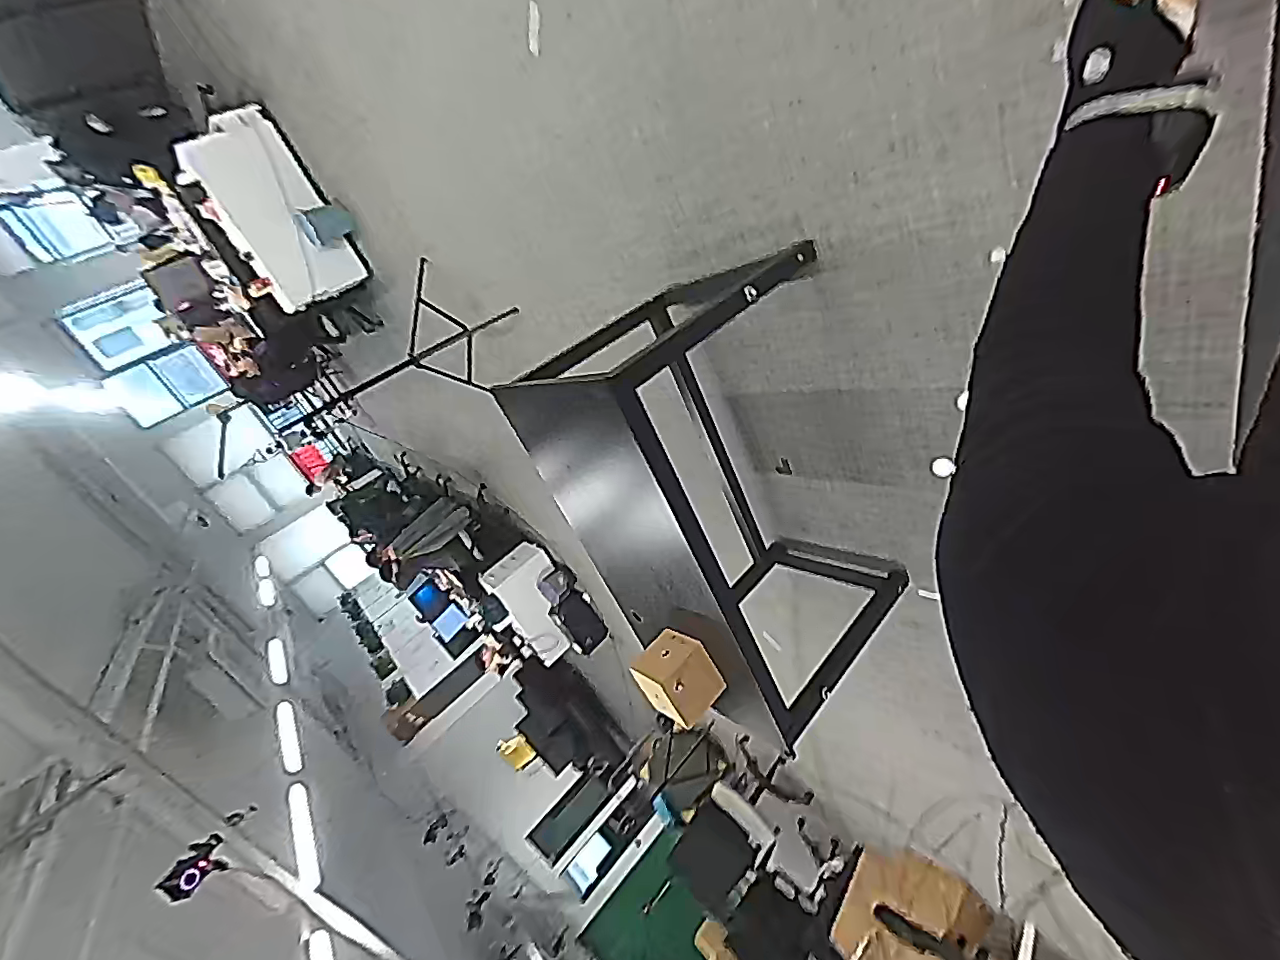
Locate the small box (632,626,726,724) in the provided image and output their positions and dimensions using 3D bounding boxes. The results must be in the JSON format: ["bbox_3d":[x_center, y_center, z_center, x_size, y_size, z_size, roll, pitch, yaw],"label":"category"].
[{"bbox_3d":[0.114,0.551,1.555,0.168,0.176,0.179,1,126,58],"label":"small box"}]
